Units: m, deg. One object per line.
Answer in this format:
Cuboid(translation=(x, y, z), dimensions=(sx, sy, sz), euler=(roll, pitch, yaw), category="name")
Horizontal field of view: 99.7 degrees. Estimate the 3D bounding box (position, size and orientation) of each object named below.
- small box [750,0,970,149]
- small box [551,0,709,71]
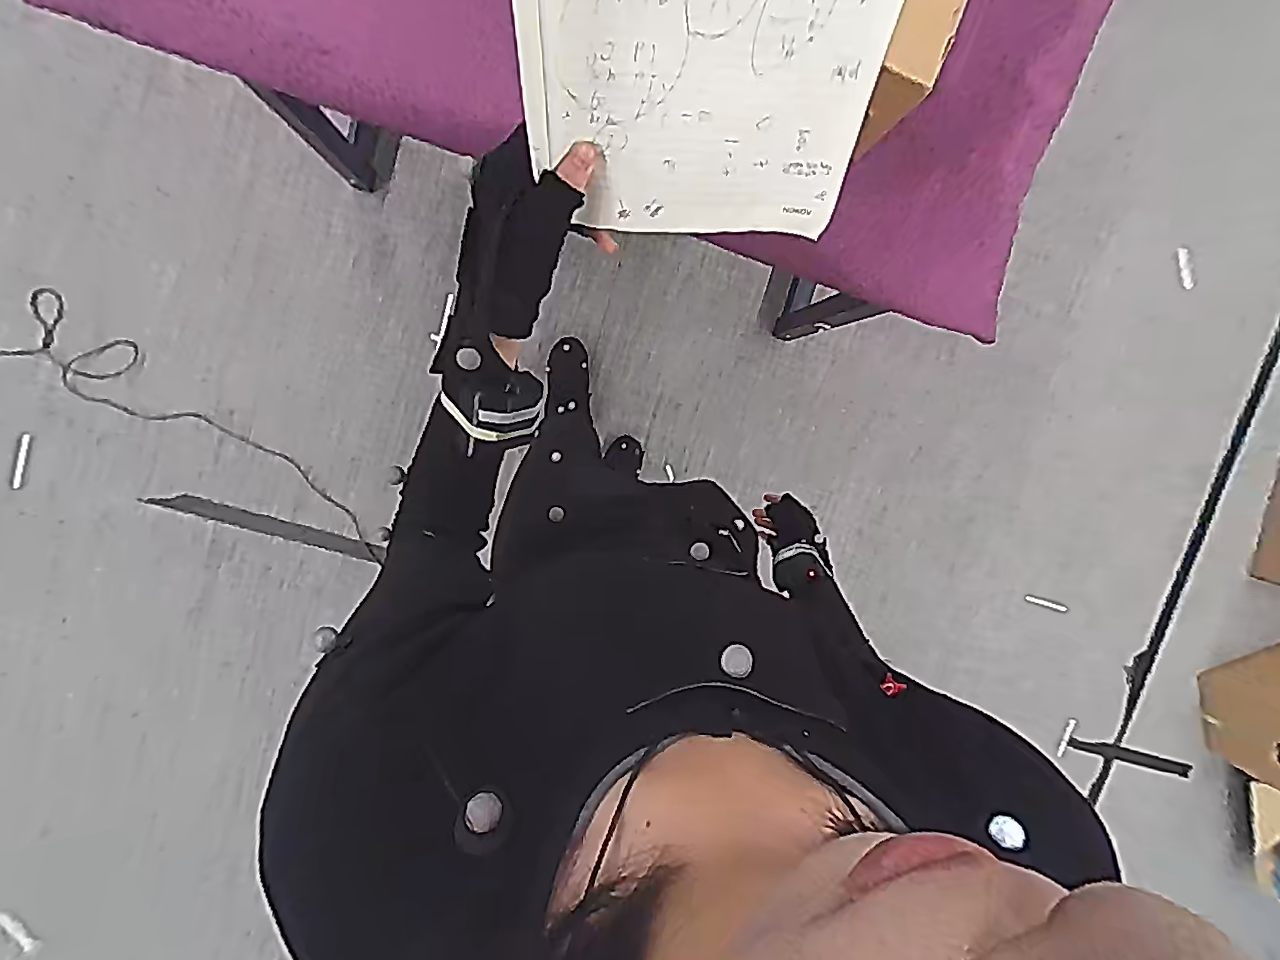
Cuboid(translation=(0.257, -0.533, 0.640), dimensions=(0.179, 0.176, 0.168), euler=(19, 93, -7), category="small box")
Cuboid(translation=(0.005, -0.606, 0.600), dimensions=(0.179, 0.176, 0.168), euler=(16, 95, -9), category="small box")
